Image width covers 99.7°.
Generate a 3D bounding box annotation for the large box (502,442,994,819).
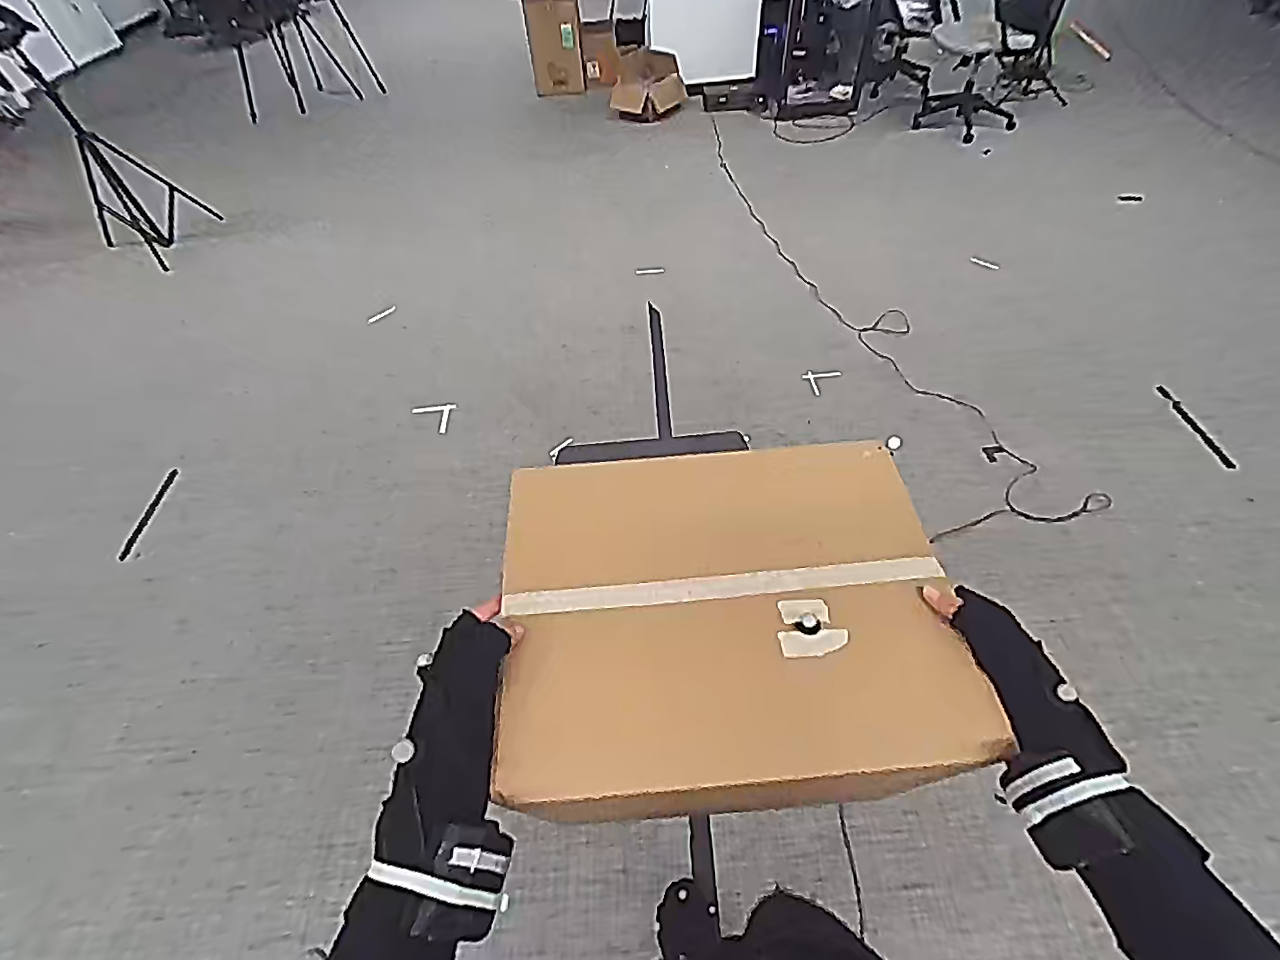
[{"bbox_3d":[0.078,0.186,0.631,0.408,0.320,0.320,-5,55,-1],"label":"large box"}]
